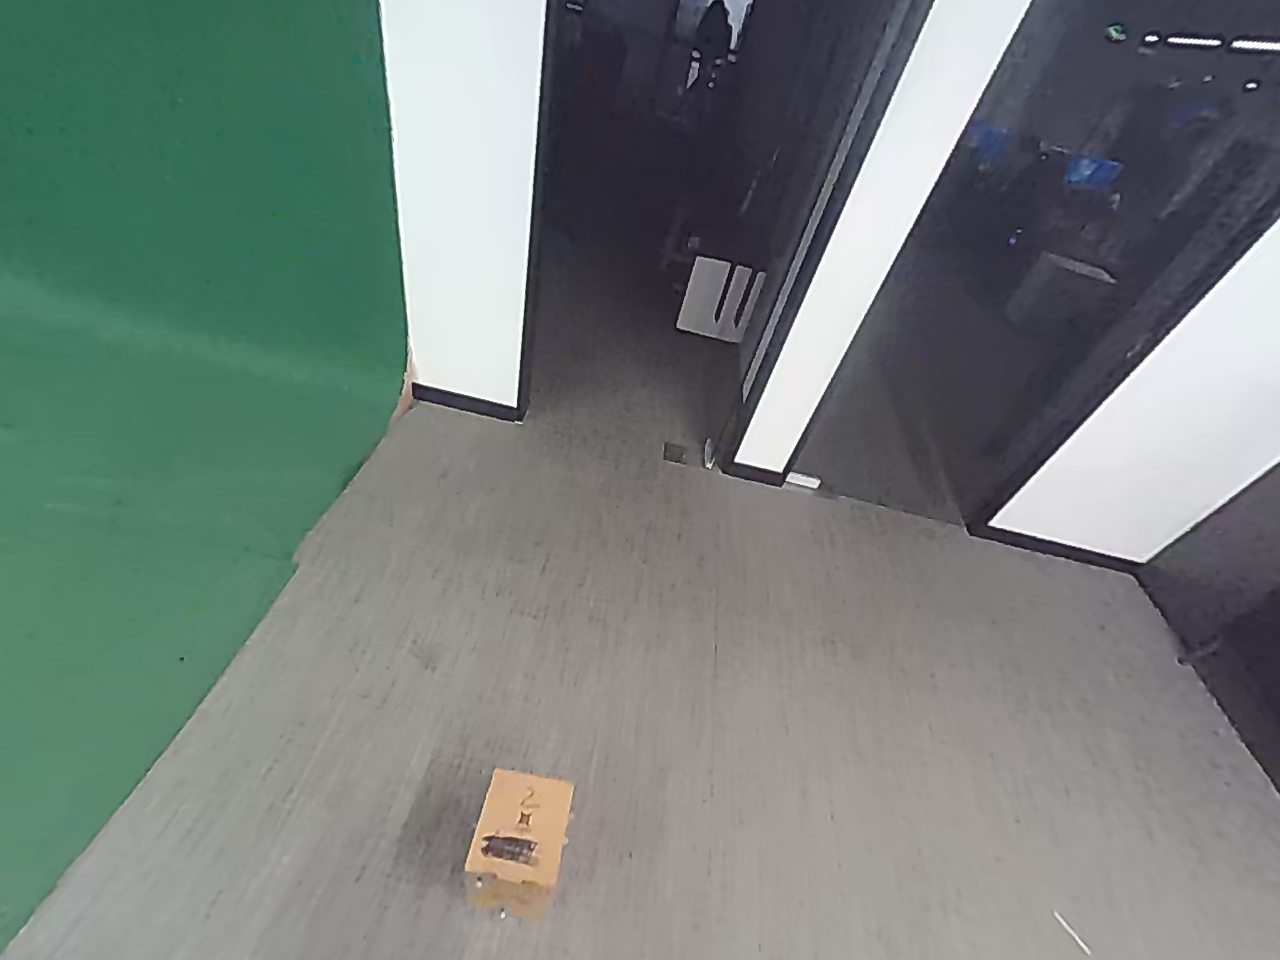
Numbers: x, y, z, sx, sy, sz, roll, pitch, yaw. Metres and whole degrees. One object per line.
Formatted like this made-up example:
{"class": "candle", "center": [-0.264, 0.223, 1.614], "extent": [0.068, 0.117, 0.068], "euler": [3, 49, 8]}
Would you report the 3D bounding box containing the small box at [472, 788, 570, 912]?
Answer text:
{"class": "small box", "center": [-0.263, 0.815, 1.191], "extent": [0.168, 0.176, 0.179], "euler": [14, 43, -2]}
